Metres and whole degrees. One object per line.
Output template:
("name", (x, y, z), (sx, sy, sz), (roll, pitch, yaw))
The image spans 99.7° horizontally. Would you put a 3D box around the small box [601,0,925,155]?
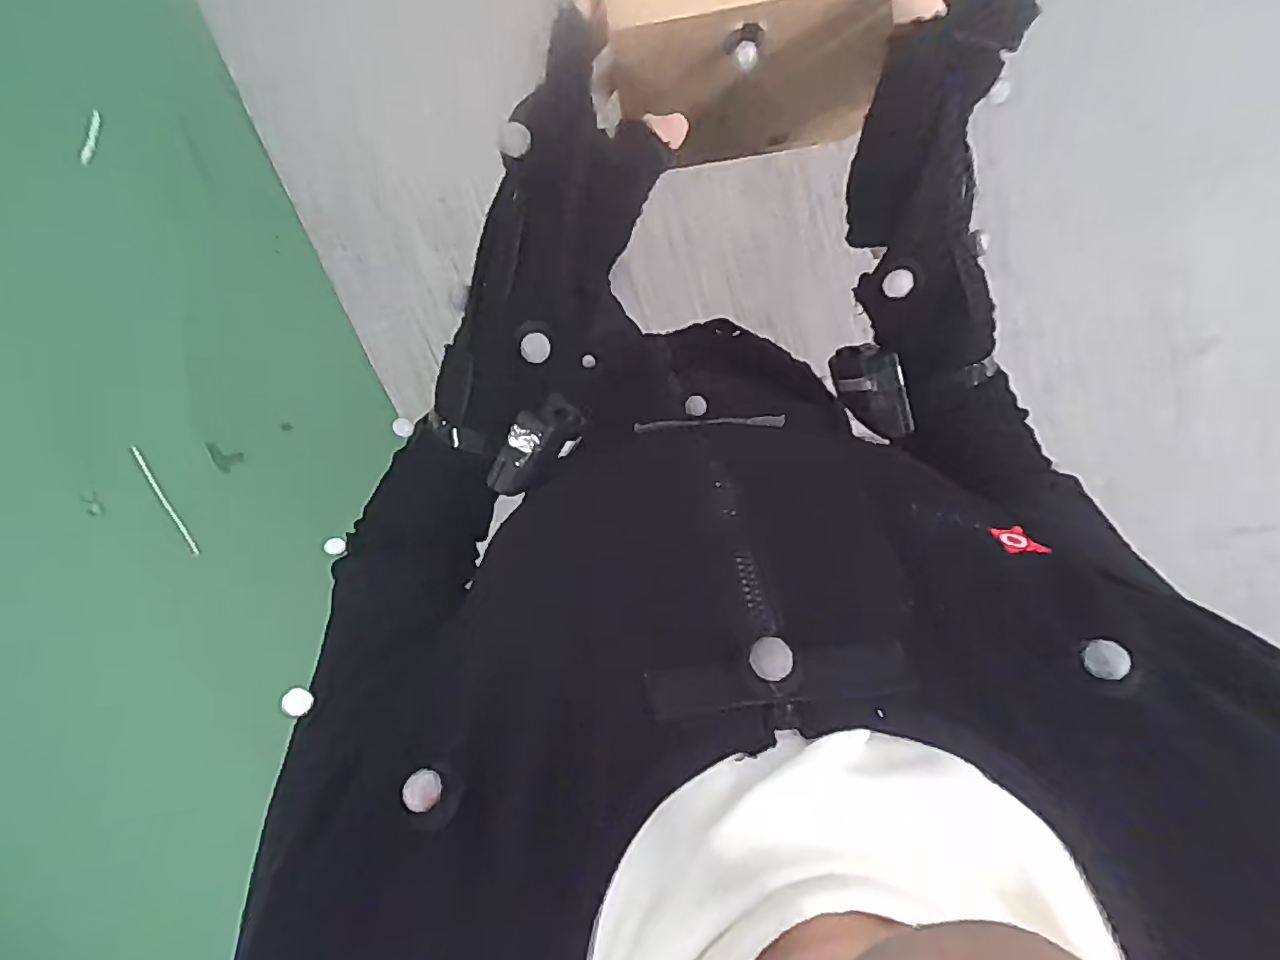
("small box", (0.056, -0.324, 0.309), (0.168, 0.176, 0.179), (-6, 98, 5))
